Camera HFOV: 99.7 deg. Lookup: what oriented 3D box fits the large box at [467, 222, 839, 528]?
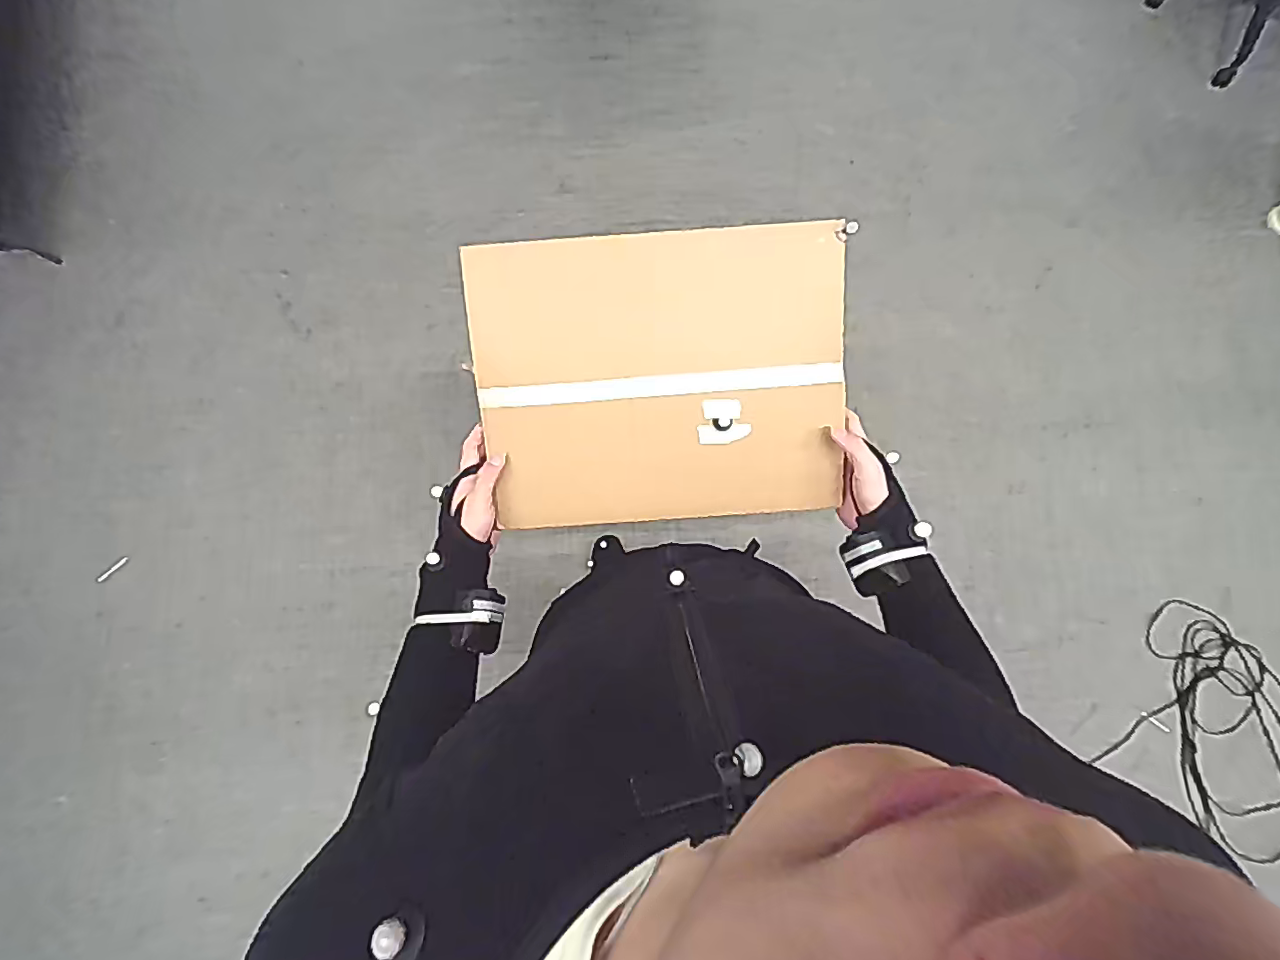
[{"bbox_3d":[0.019,-0.139,0.752,0.408,0.320,0.320,-5,103,0],"label":"large box"}]
